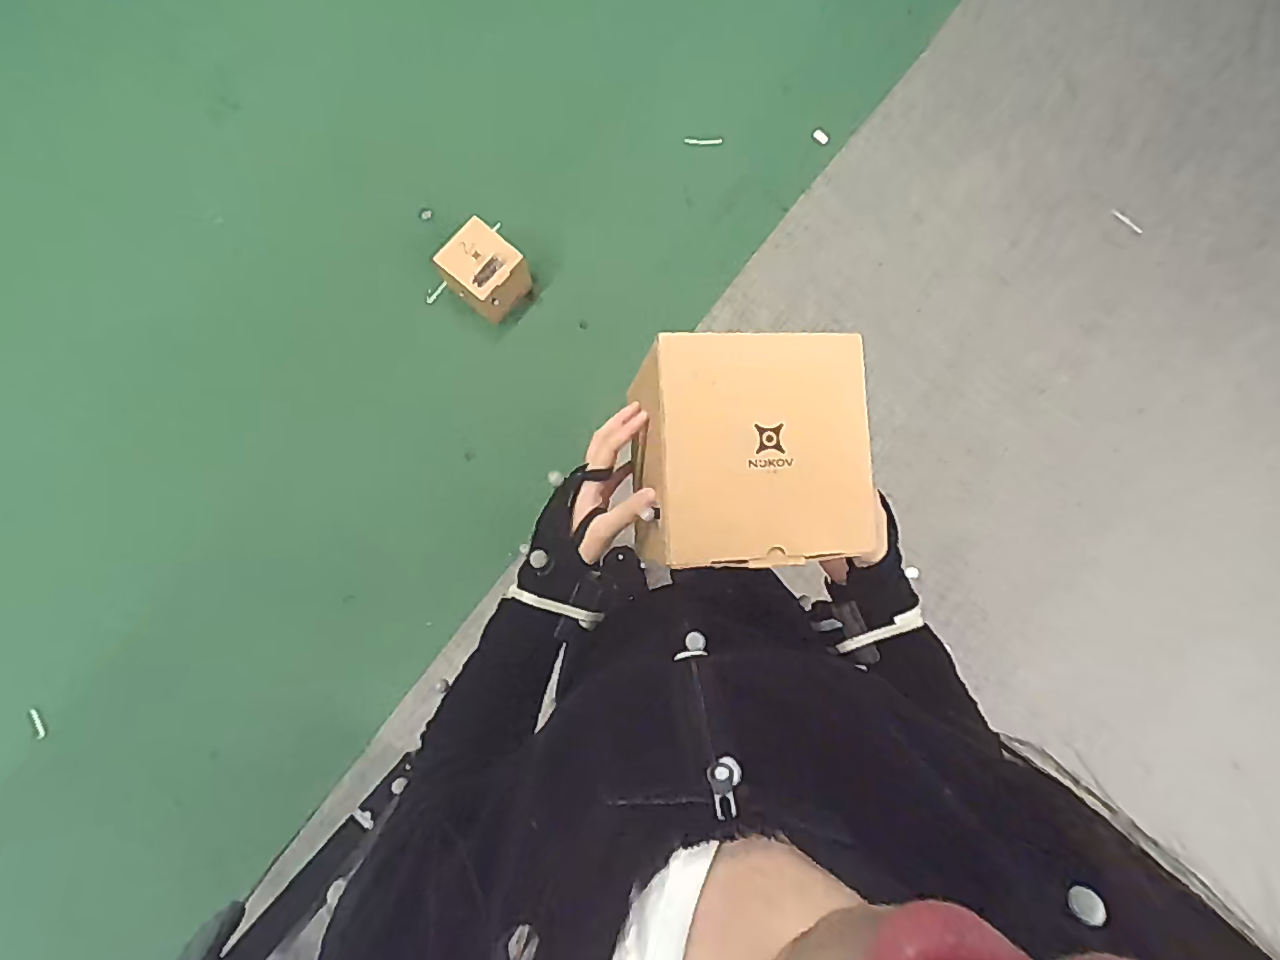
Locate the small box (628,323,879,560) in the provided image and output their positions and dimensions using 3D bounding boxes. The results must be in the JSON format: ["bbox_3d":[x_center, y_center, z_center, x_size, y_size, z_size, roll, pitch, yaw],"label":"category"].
[{"bbox_3d":[0.083,-0.024,0.478,0.168,0.176,0.179,-2,86,-9],"label":"small box"}]
